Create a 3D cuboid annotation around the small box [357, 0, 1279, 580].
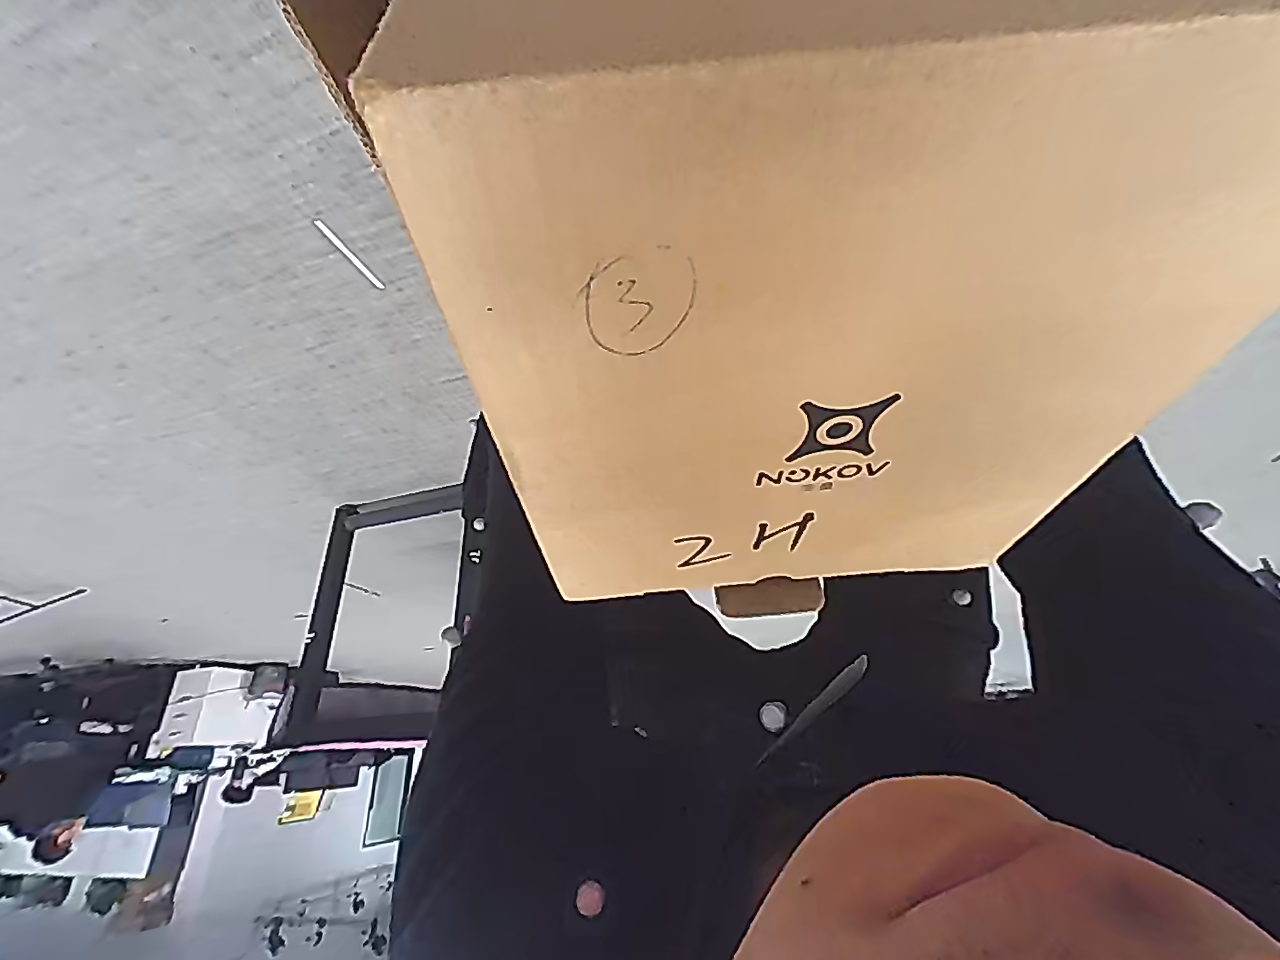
[{"bbox_3d":[0.038,-0.083,0.183,0.168,0.176,0.179,-4,147,-1],"label":"small box"}]
